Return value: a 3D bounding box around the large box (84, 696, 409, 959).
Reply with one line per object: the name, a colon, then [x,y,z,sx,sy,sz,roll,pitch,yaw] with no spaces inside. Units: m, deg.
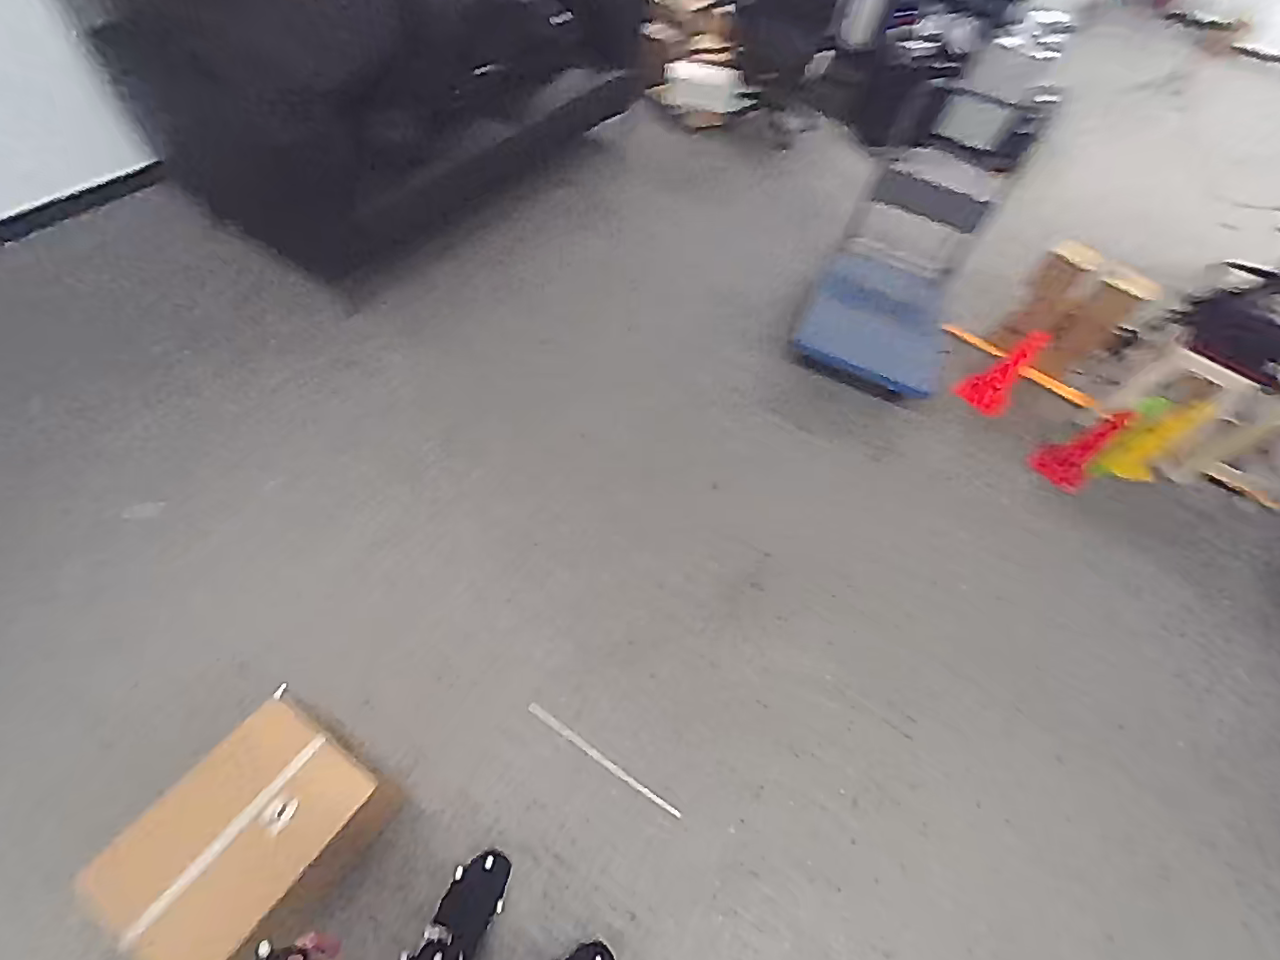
large box: [-0.783,0.756,1.152,0.320,0.320,0.408,34,58,13]
